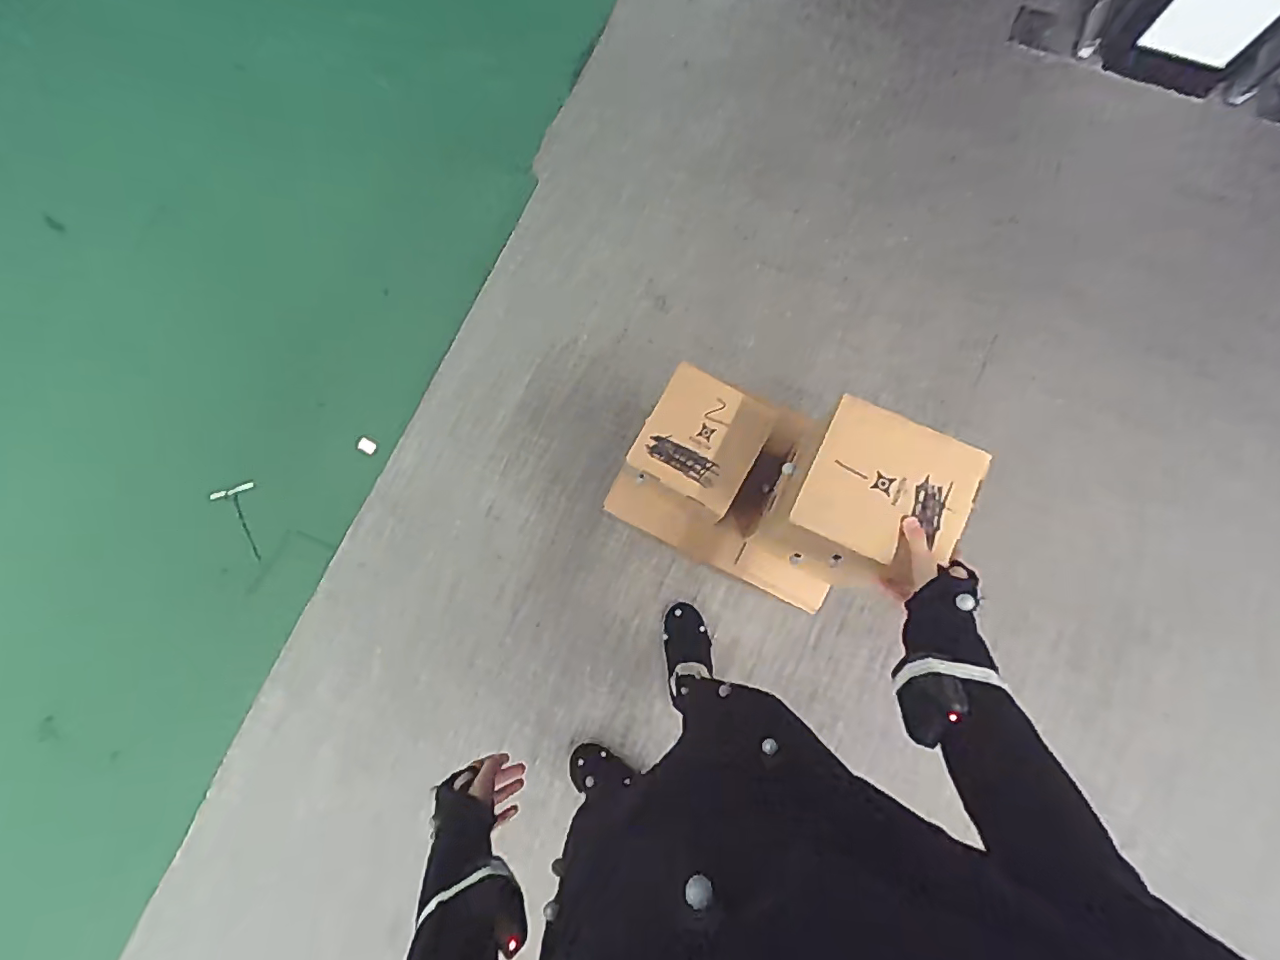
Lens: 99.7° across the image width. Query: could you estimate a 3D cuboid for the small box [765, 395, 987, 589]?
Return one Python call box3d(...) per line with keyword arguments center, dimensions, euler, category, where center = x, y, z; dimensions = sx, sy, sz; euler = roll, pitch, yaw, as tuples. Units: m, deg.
box3d(center=(0.277, 0.023, 0.675), dimensions=(0.179, 0.176, 0.168), euler=(25, 81, 9), category="small box")
